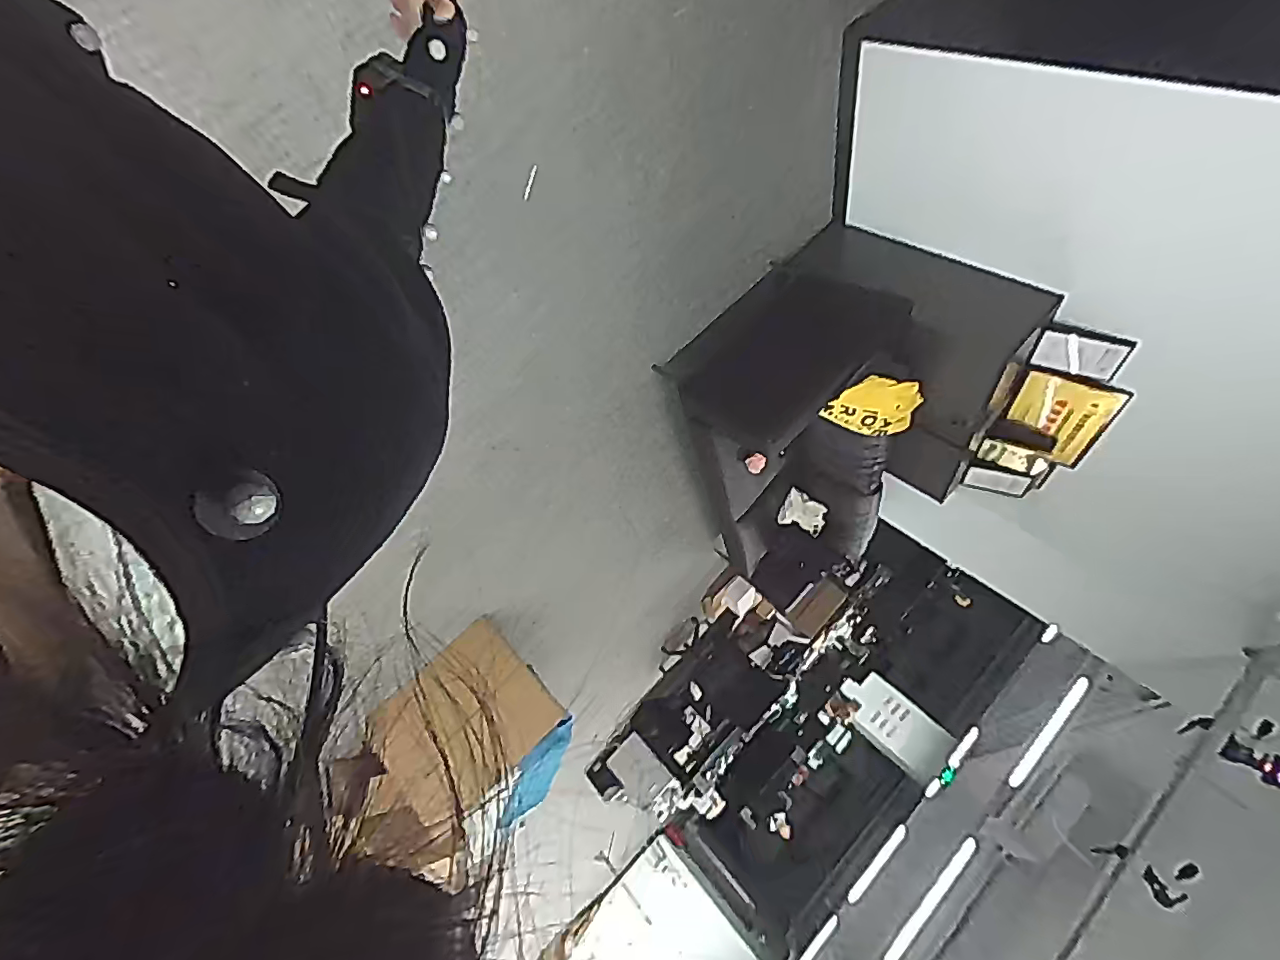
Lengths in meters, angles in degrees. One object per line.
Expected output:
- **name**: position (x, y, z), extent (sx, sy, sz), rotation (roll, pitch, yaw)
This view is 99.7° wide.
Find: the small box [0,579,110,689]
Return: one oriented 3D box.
- **small box**: position (-1.409, 0.355, 1.258), extent (0.168, 0.176, 0.179), rotation (-47, 149, -7)
